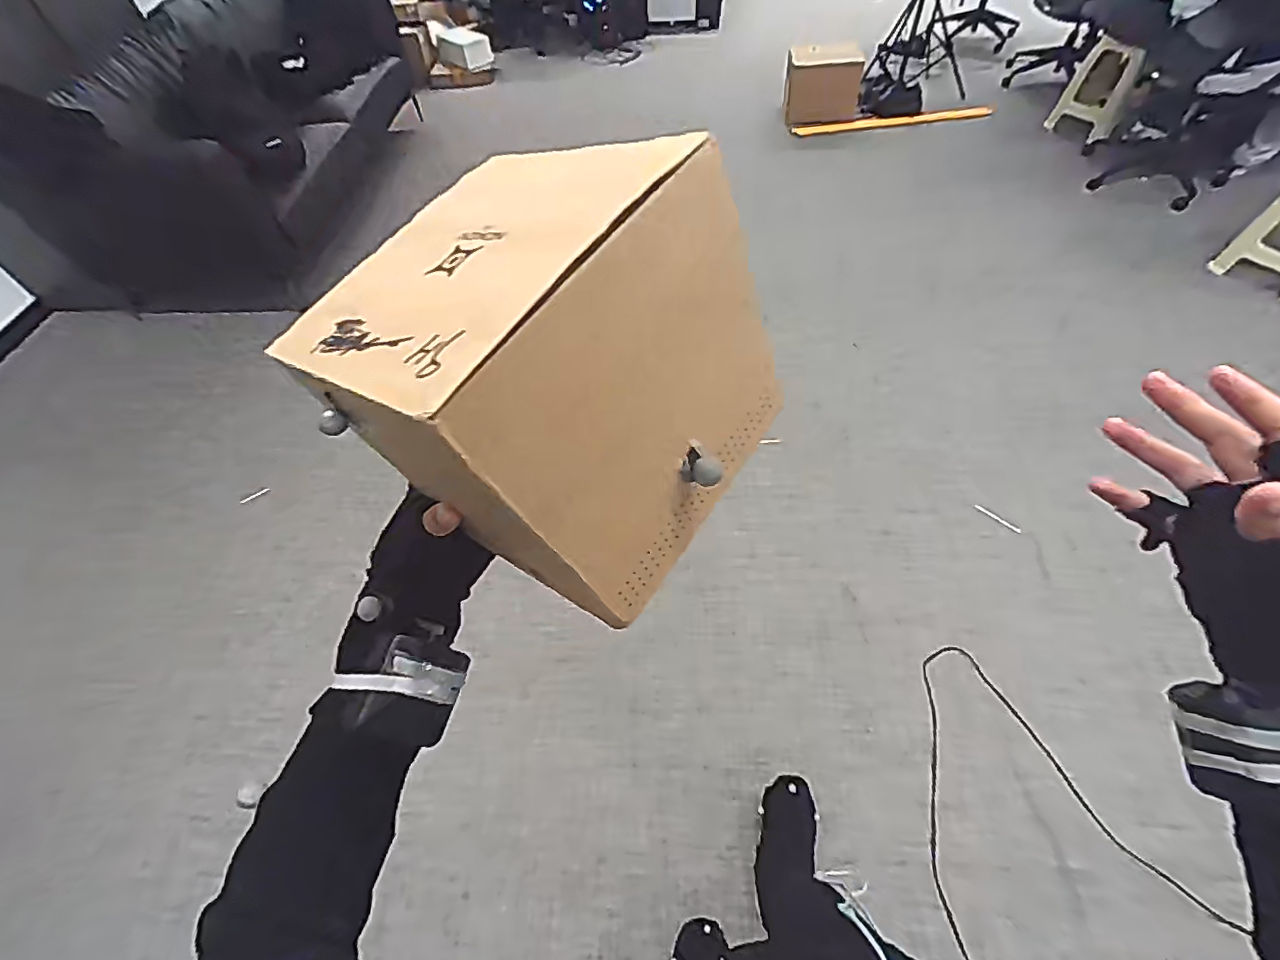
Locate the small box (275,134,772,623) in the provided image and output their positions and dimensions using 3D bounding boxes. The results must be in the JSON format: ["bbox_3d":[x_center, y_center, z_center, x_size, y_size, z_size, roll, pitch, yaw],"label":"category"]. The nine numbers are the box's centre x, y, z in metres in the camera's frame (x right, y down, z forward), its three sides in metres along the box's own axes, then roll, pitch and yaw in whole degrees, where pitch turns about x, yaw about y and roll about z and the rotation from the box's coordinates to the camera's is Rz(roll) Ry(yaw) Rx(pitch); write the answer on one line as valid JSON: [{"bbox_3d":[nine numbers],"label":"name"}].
[{"bbox_3d":[-0.042,-0.056,0.301,0.168,0.176,0.179,22,64,38],"label":"small box"}]
